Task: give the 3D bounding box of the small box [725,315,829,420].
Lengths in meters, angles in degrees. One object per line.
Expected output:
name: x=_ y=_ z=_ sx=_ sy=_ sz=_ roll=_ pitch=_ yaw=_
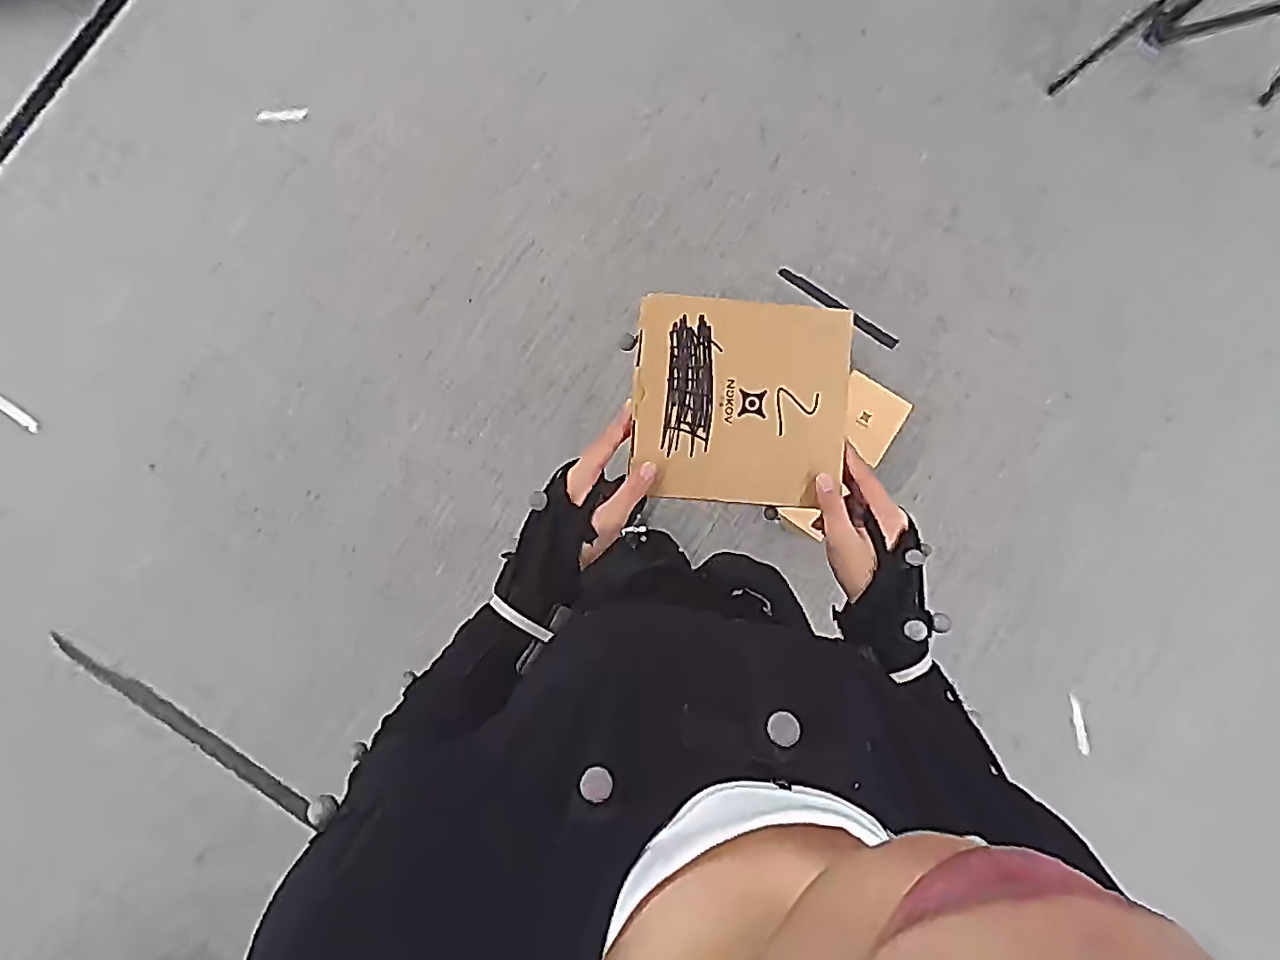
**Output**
small box: x=0.326 y=-0.267 z=1.333 sx=0.168 sy=0.176 sz=0.179 roll=33 pitch=87 yaw=0
